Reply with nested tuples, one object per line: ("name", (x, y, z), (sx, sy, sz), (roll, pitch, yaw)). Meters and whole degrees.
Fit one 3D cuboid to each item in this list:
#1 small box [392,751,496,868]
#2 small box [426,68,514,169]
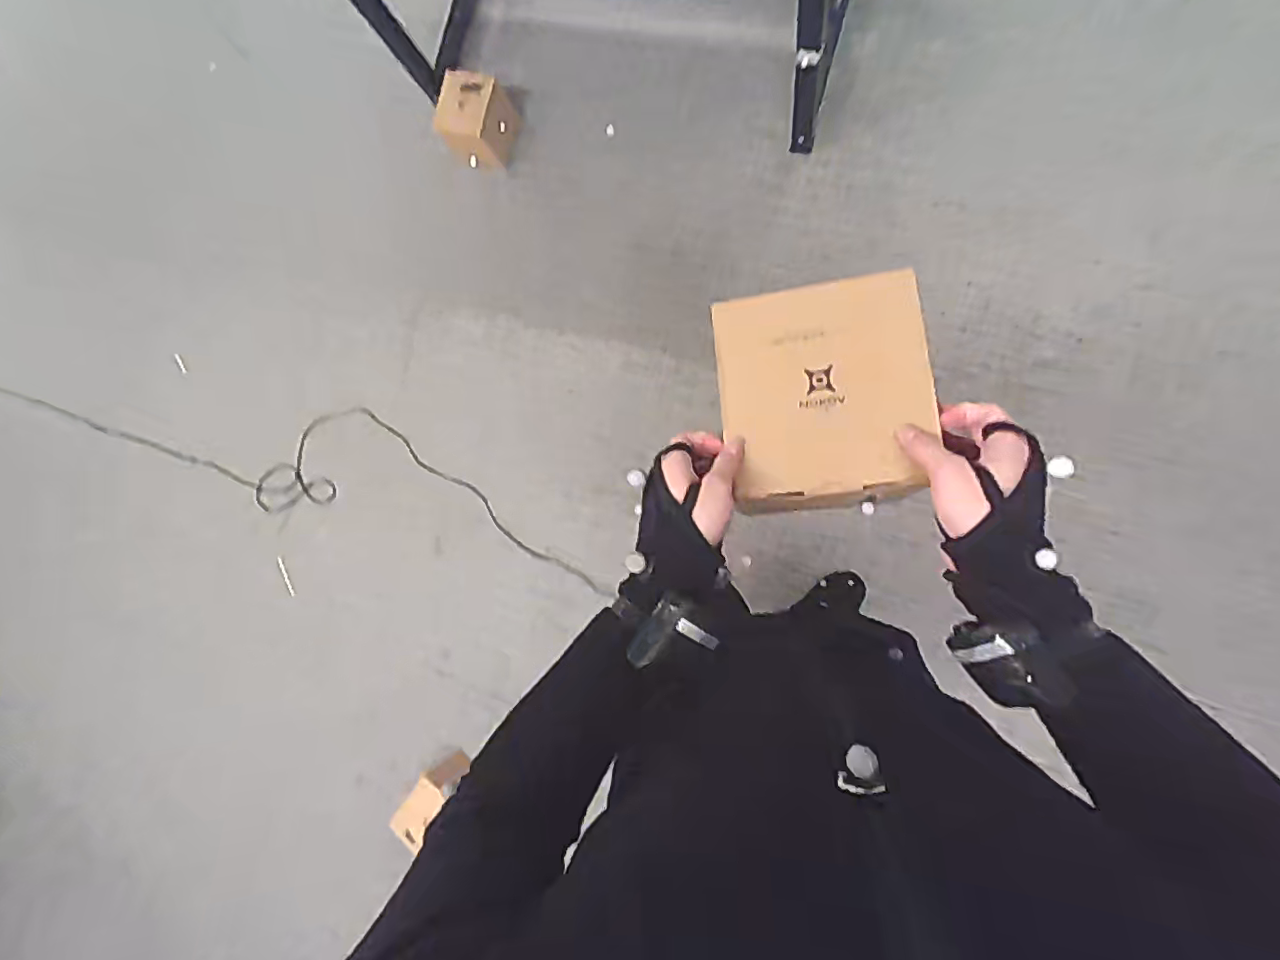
("small box", (-0.514, 0.872, 1.453), (0.168, 0.176, 0.179), (36, 93, 12))
("small box", (-0.491, -1.056, 1.588), (0.168, 0.176, 0.179), (16, 91, 14))
